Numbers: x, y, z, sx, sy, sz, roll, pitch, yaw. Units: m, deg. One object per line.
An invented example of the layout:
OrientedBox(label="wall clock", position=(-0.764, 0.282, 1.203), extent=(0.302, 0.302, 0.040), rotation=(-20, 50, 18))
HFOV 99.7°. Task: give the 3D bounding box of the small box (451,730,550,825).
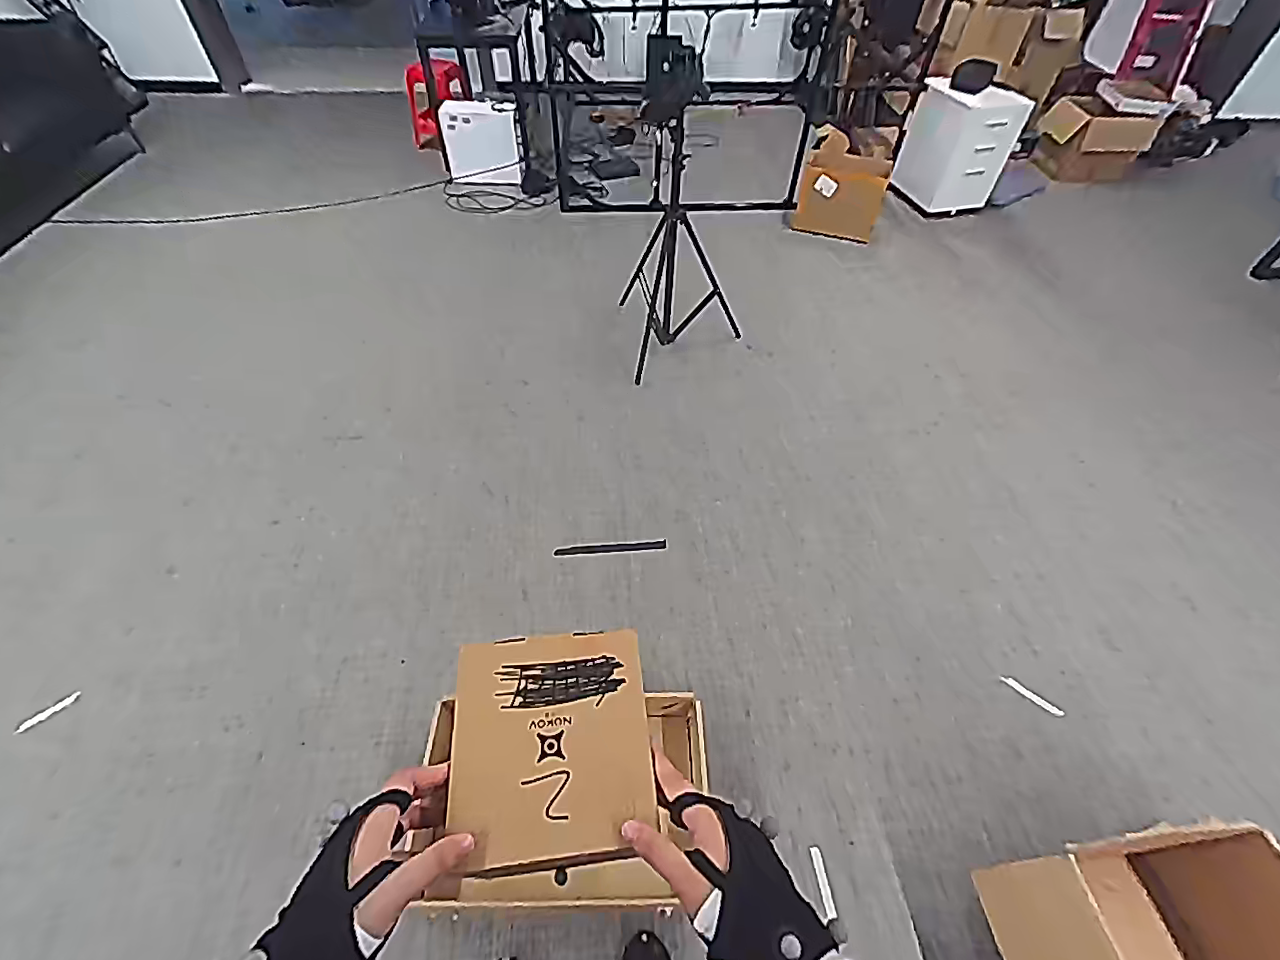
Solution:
OrientedBox(label="small box", position=(-0.305, 0.673, 1.218), extent=(0.179, 0.176, 0.168), rotation=(1, 52, -2))
